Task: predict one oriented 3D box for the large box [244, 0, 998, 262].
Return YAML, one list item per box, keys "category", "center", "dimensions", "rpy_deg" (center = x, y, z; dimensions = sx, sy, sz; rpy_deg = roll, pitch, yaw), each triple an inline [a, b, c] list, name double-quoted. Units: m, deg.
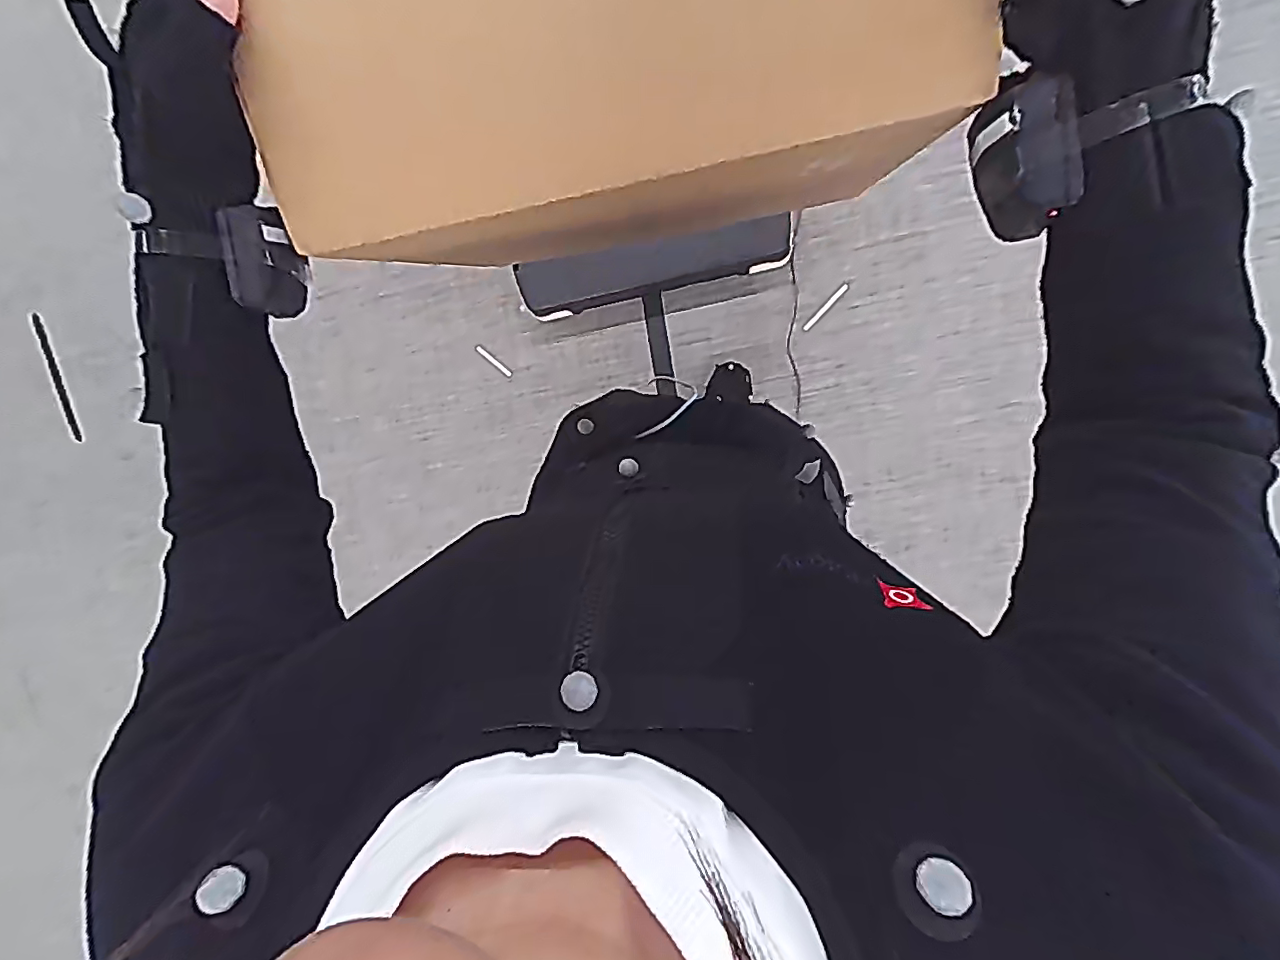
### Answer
- category: "large box"
  center: [-0.018, -0.371, 0.407]
  dimensions: [0.408, 0.320, 0.320]
  rpy_deg: [-7, 109, 11]
